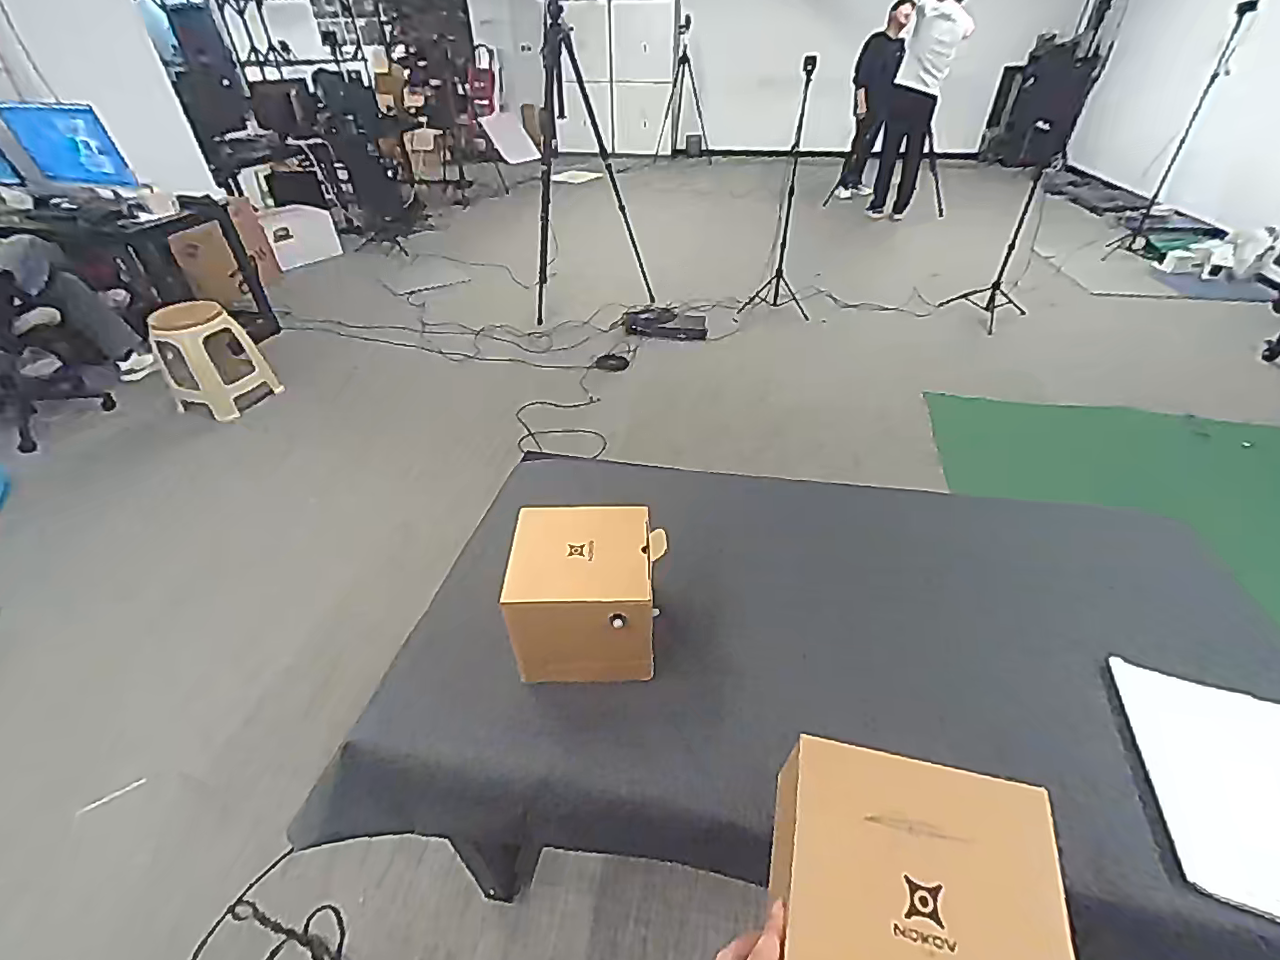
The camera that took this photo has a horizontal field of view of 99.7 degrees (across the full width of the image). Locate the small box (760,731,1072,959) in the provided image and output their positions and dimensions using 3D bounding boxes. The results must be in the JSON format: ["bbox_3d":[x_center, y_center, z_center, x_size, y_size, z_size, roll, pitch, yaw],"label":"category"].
[{"bbox_3d":[0.184,0.315,0.402,0.168,0.176,0.179,7,53,13],"label":"small box"}]

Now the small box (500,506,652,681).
[{"bbox_3d":[-0.073,0.152,0.724,0.179,0.176,0.168,-1,38,-1],"label":"small box"}]
